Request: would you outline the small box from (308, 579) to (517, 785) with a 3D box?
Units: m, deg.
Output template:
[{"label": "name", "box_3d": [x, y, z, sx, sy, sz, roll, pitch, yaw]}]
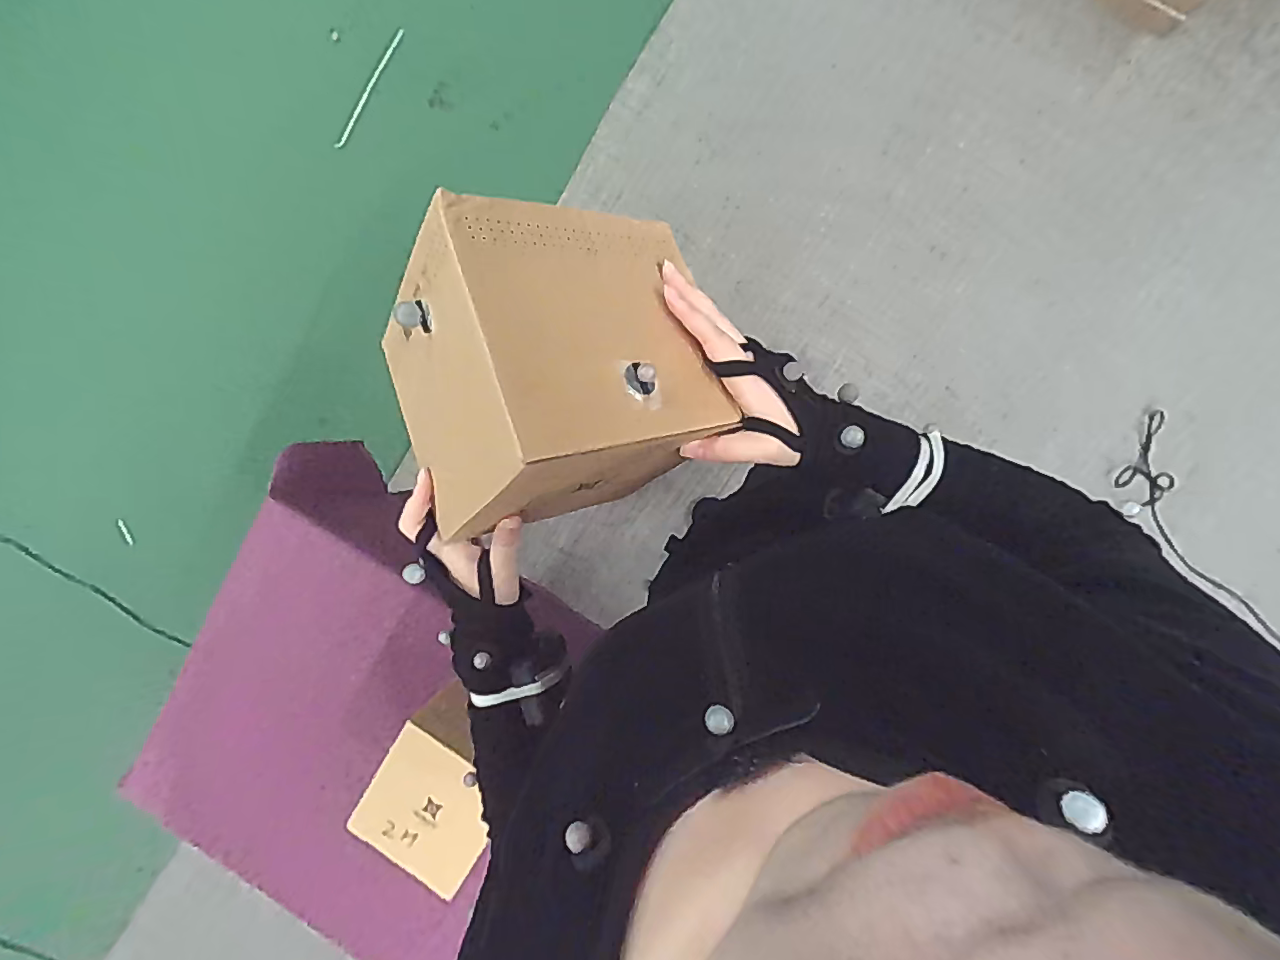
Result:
[{"label": "small box", "box_3d": [-0.292, 0.260, 0.741, 0.179, 0.176, 0.168, -39, 87, 8]}]
